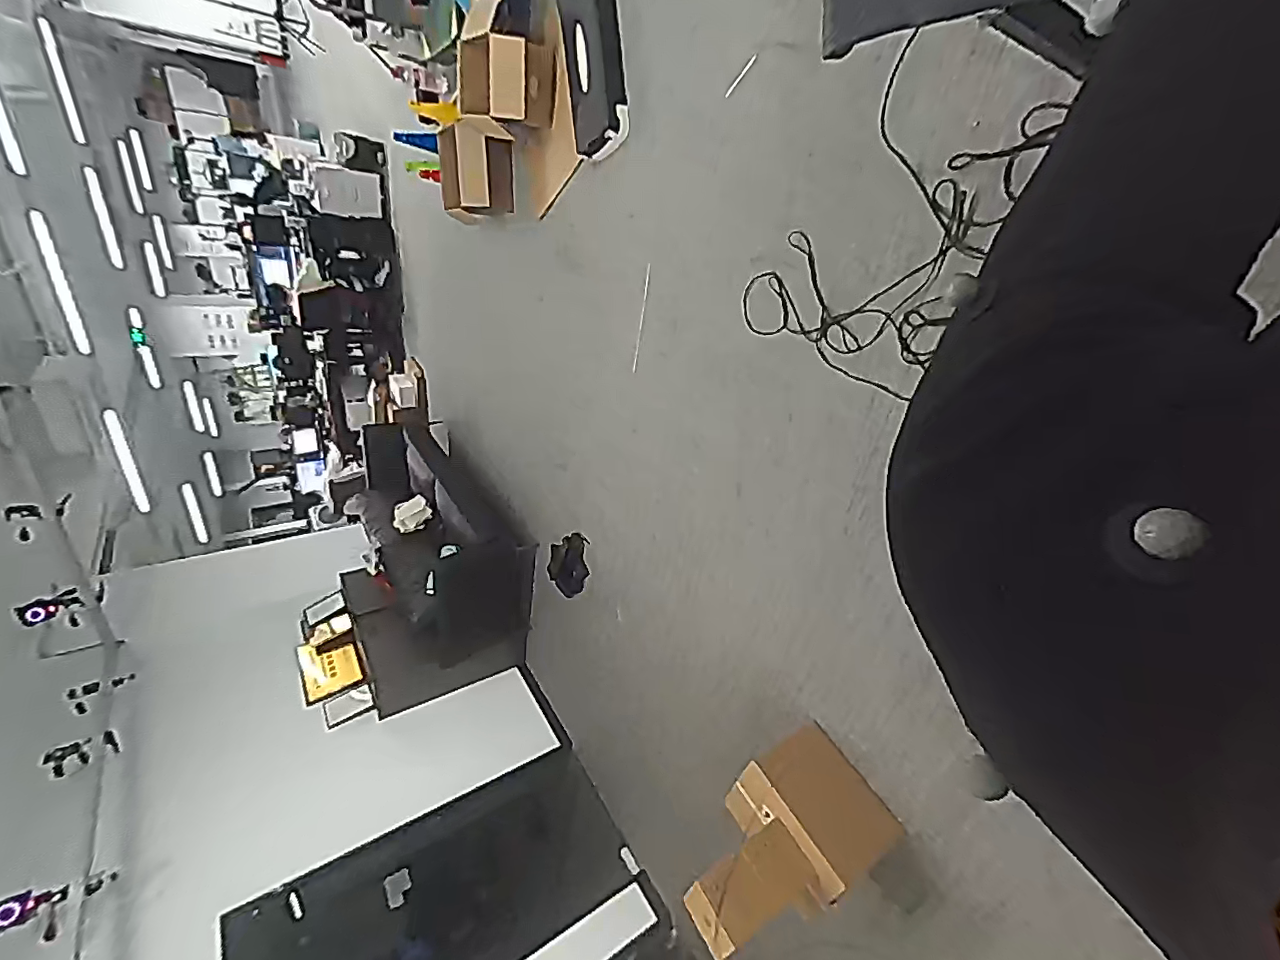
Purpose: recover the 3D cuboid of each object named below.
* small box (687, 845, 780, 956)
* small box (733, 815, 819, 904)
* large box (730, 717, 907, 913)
[{"bbox_3d":[0.268,1.200,1.550,0.179,0.176,0.168,49,139,37],"label":"small box"},{"bbox_3d":[0.401,1.154,1.633,0.179,0.176,0.168,48,138,36],"label":"small box"},{"bbox_3d":[0.576,1.090,1.794,0.408,0.320,0.320,49,137,38],"label":"large box"}]
